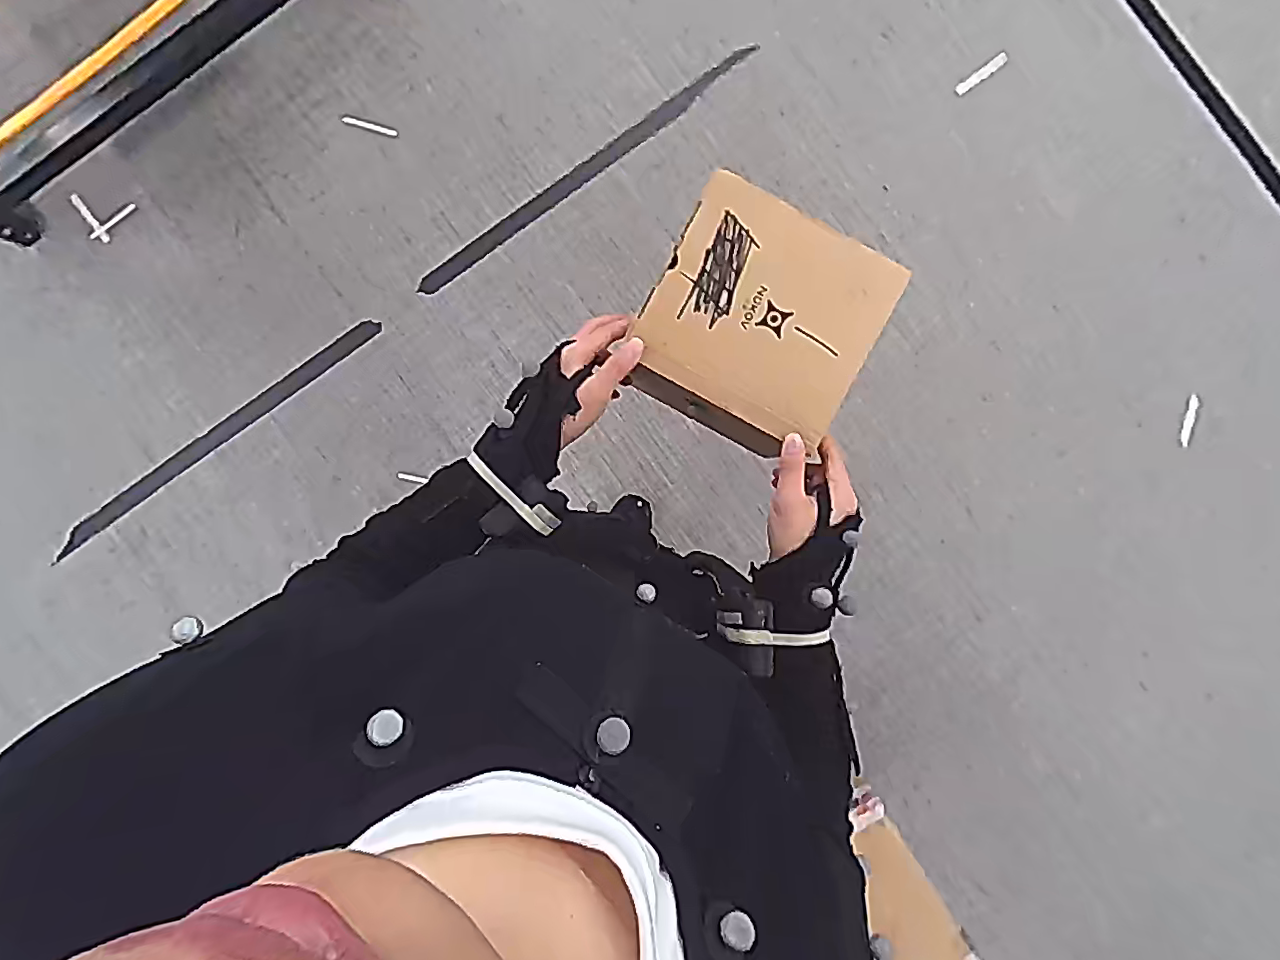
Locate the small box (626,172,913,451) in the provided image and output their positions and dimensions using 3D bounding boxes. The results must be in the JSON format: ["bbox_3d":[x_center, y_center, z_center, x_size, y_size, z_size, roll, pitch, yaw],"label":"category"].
[{"bbox_3d":[0.101,-0.133,0.504,0.179,0.176,0.168,28,92,-1],"label":"small box"}]
